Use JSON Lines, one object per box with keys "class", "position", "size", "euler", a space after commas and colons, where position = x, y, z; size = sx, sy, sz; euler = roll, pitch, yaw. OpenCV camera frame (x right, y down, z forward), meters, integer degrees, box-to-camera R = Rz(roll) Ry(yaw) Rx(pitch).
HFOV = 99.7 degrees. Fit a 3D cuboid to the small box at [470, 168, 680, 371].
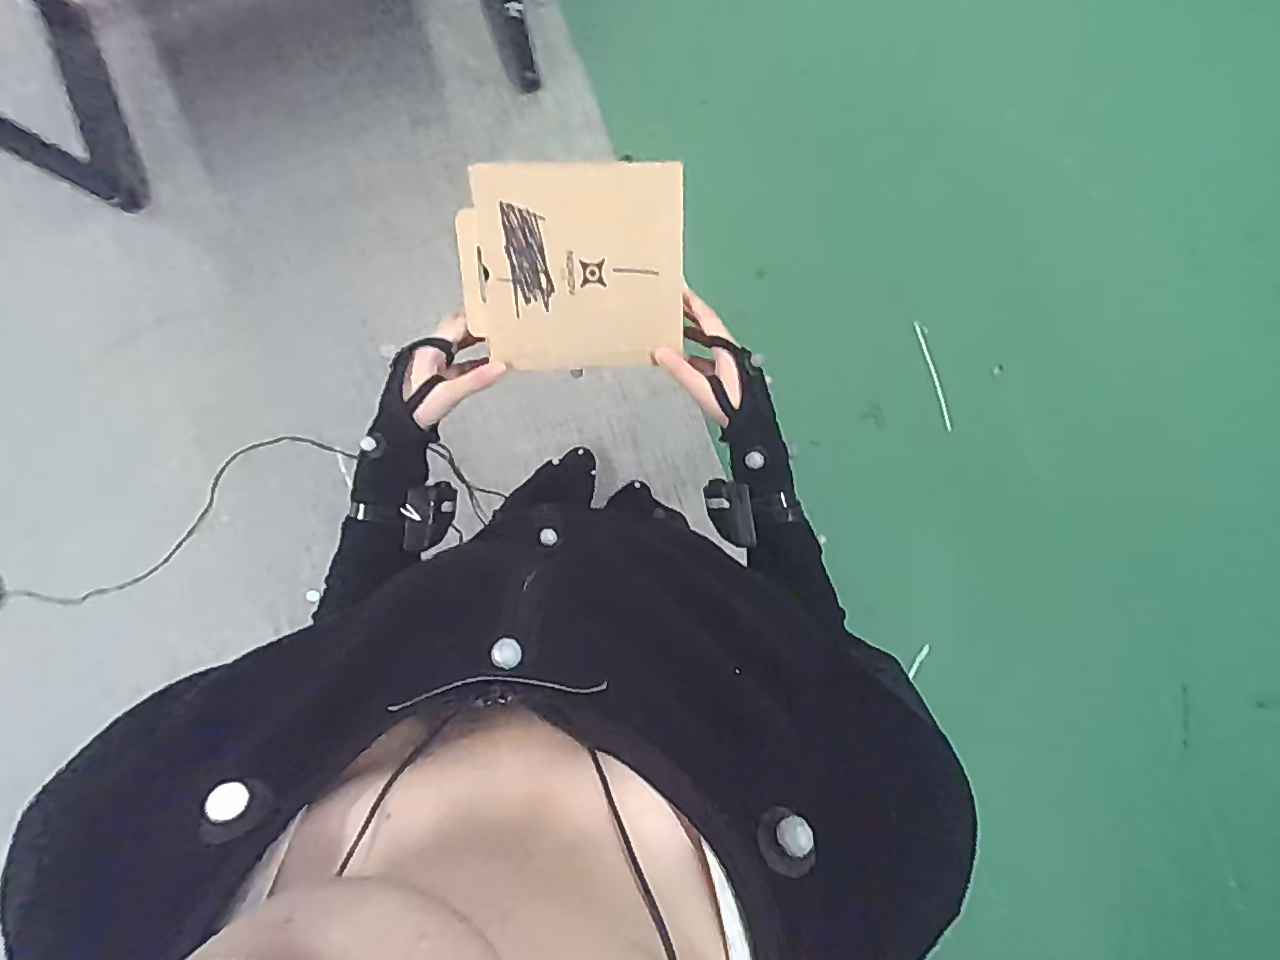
{"class": "small box", "position": [-0.056, -0.203, 0.547], "size": [0.179, 0.176, 0.168], "euler": [-3, 109, -3]}
